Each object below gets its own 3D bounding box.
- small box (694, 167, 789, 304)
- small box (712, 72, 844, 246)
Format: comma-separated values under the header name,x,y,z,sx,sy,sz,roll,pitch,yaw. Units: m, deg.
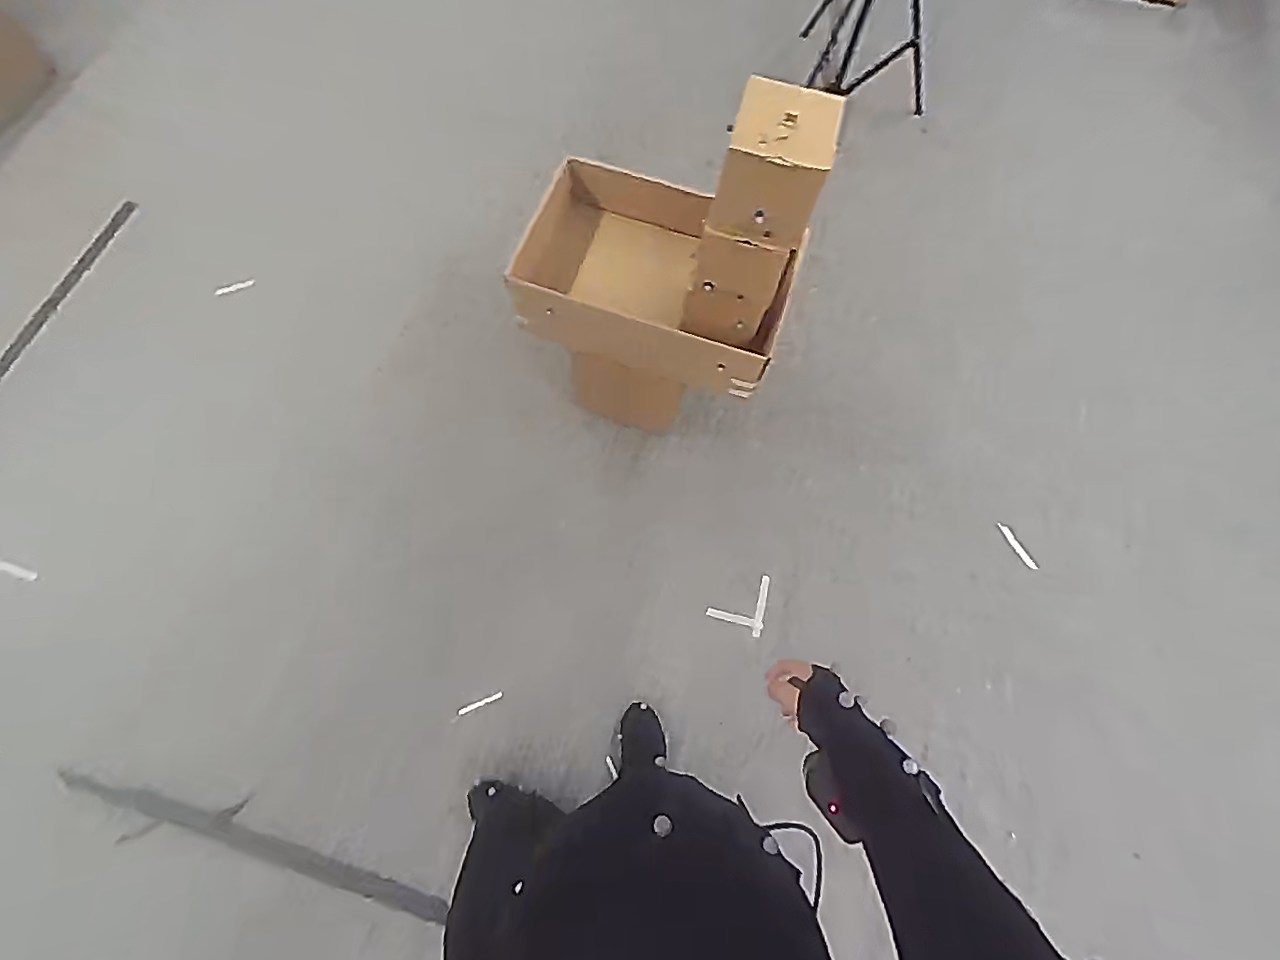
name,x,y,z,sx,sy,sz,roll,pitch,yaw
small box,0.210,-0.484,1.085,0.168,0.176,0.179,15,71,2
small box,0.230,-0.545,0.933,0.168,0.176,0.179,15,72,2
